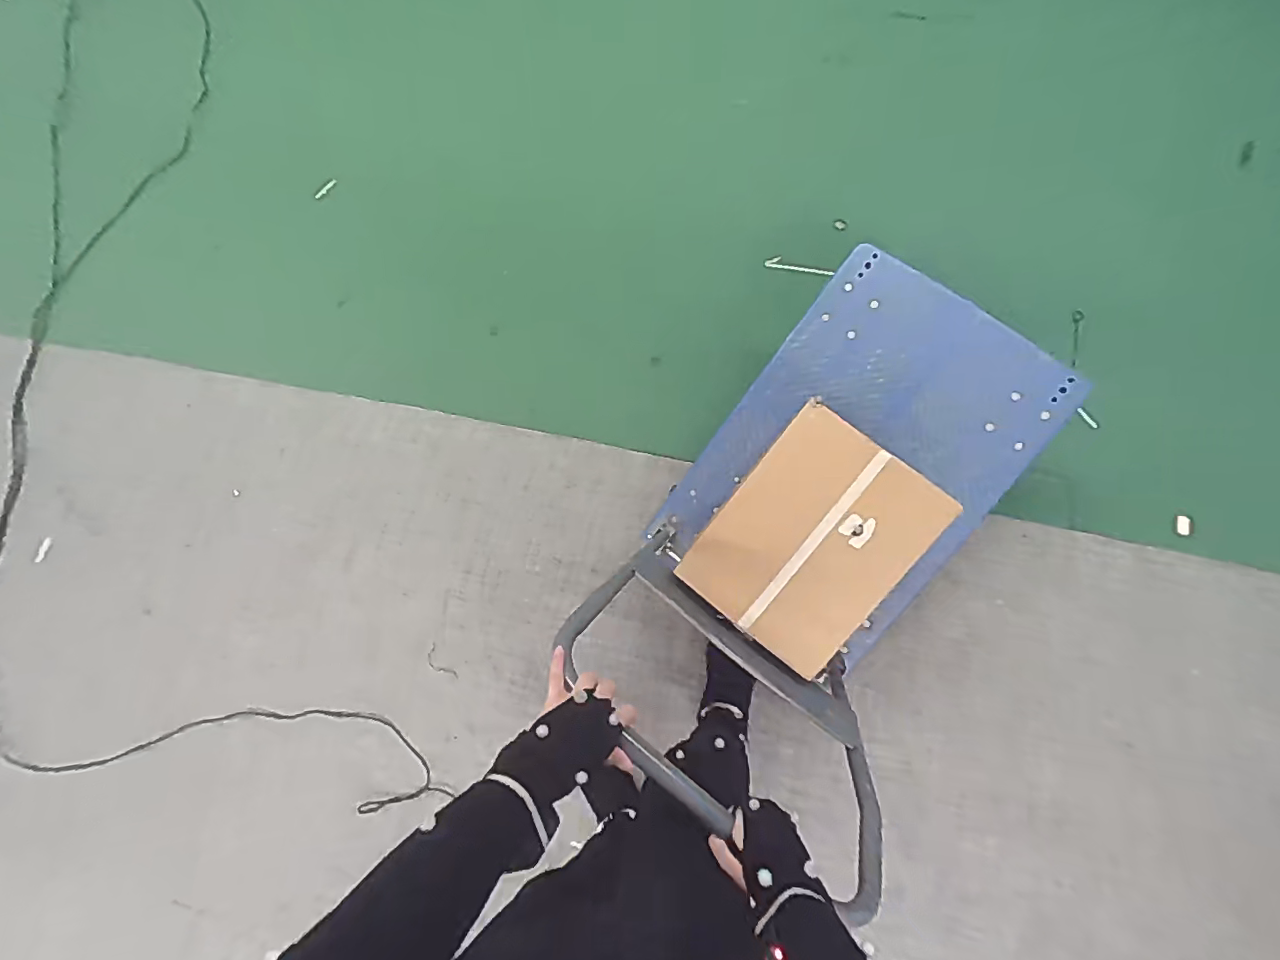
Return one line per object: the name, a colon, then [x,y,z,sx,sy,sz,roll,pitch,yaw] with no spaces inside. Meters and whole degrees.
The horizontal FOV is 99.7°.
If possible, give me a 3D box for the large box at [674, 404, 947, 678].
large box: [0.322,0.110,1.114,0.320,0.320,0.408,38,97,7]
